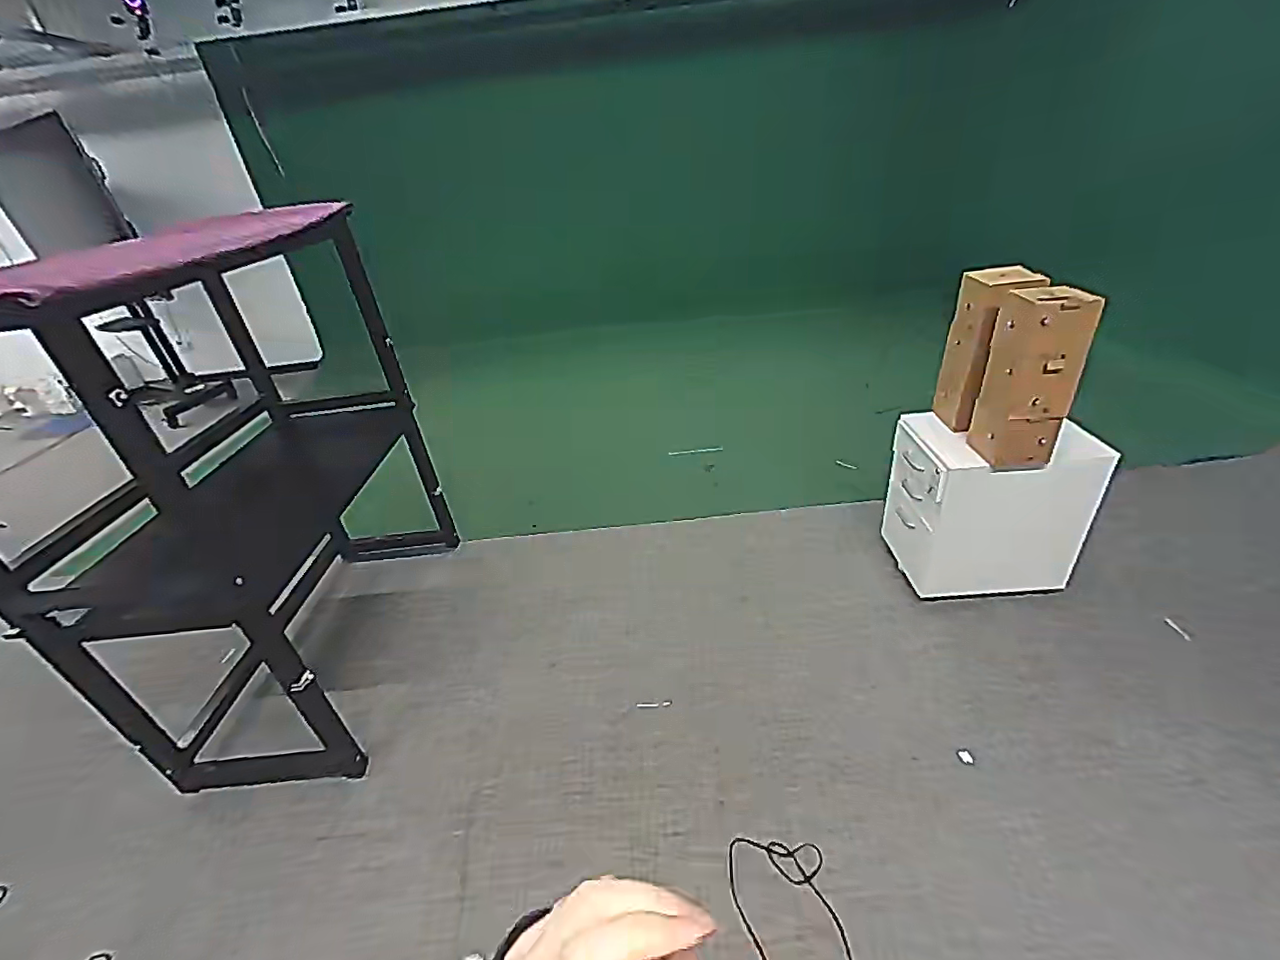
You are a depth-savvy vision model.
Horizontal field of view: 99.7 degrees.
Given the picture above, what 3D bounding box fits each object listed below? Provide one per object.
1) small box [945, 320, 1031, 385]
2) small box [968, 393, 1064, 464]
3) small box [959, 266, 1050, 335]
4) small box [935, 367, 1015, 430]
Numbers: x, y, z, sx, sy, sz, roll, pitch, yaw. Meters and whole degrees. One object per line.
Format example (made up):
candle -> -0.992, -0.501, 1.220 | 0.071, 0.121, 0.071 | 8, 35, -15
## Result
small box -> 1.144, -0.427, 1.795 | 0.168, 0.176, 0.179 | -4, 34, 4
small box -> 1.155, -0.156, 1.676 | 0.168, 0.176, 0.179 | -4, 30, 3
small box -> 1.132, -0.562, 1.700 | 0.179, 0.176, 0.168 | -4, 34, 4
small box -> 1.156, -0.289, 1.883 | 0.168, 0.176, 0.179 | -5, 33, 5
